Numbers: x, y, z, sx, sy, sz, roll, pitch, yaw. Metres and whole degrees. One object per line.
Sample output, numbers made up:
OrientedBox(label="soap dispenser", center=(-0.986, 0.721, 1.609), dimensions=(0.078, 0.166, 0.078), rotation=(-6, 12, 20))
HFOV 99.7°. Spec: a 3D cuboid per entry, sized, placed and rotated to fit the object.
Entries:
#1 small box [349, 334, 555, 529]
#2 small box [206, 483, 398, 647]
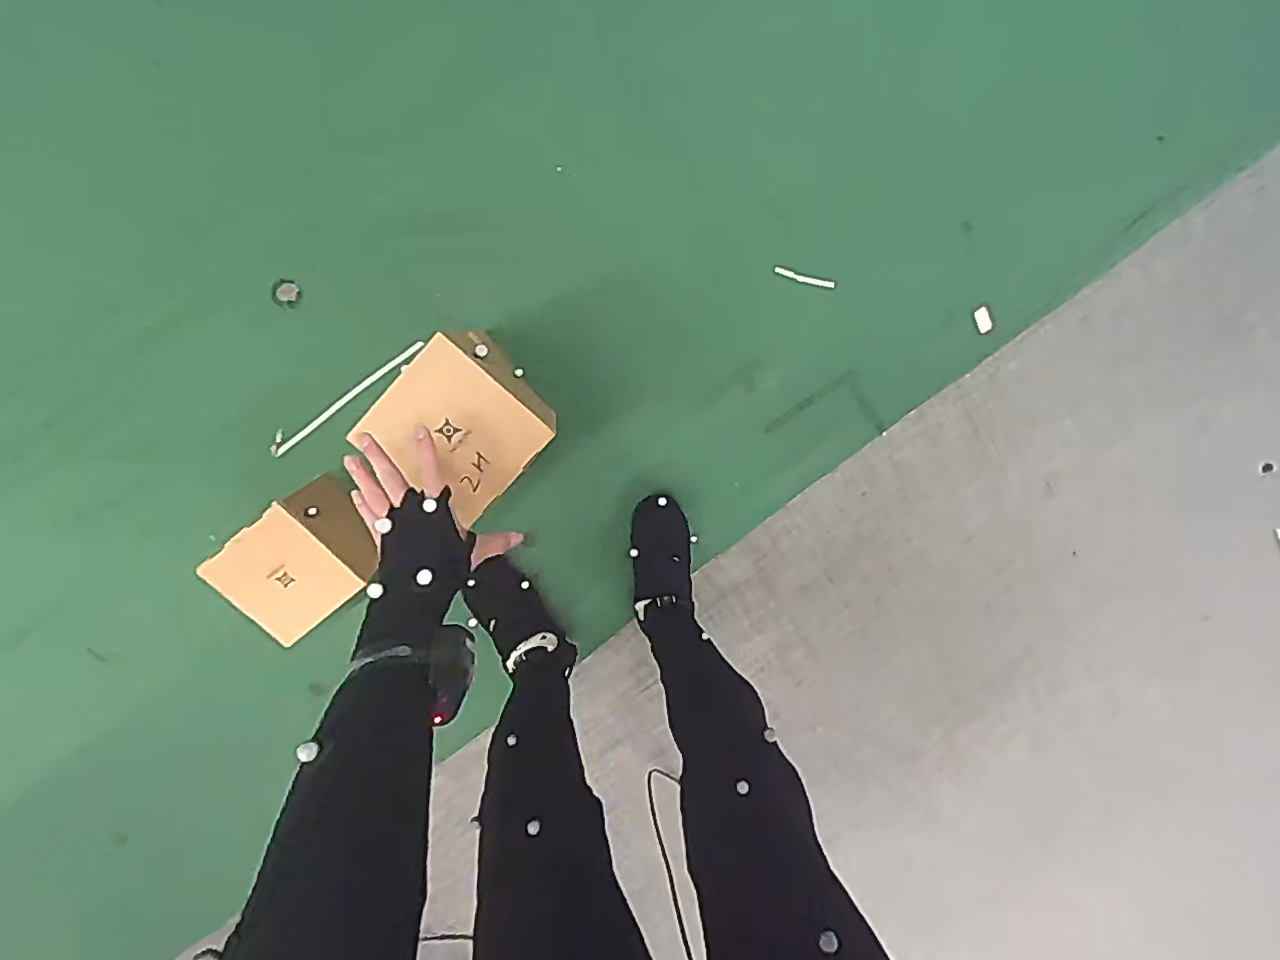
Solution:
OrientedBox(label="small box", center=(-0.230, -0.070, 0.710), dimensions=(0.179, 0.176, 0.168), rotation=(42, 97, -16))
OrientedBox(label="small box", center=(-0.539, 0.130, 0.895), dimensions=(0.168, 0.176, 0.179), rotation=(-39, 106, 4))
